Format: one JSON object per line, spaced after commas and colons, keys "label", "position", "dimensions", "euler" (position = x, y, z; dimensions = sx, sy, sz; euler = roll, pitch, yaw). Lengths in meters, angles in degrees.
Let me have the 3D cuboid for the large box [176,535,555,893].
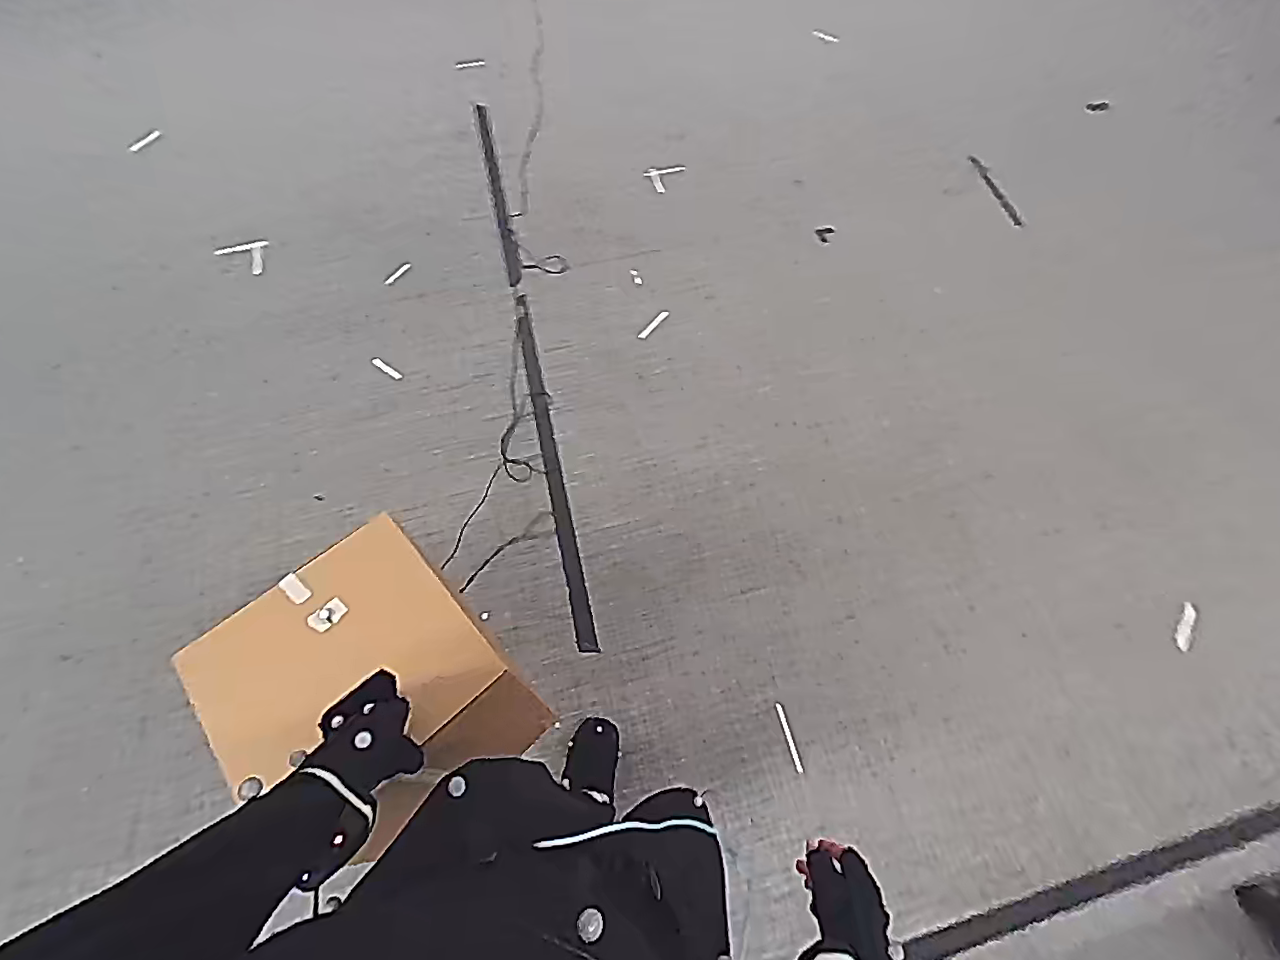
{"label": "large box", "position": [-0.378, 0.352, 0.847], "dimensions": [0.320, 0.408, 0.320], "euler": [-40, 66, -20]}
